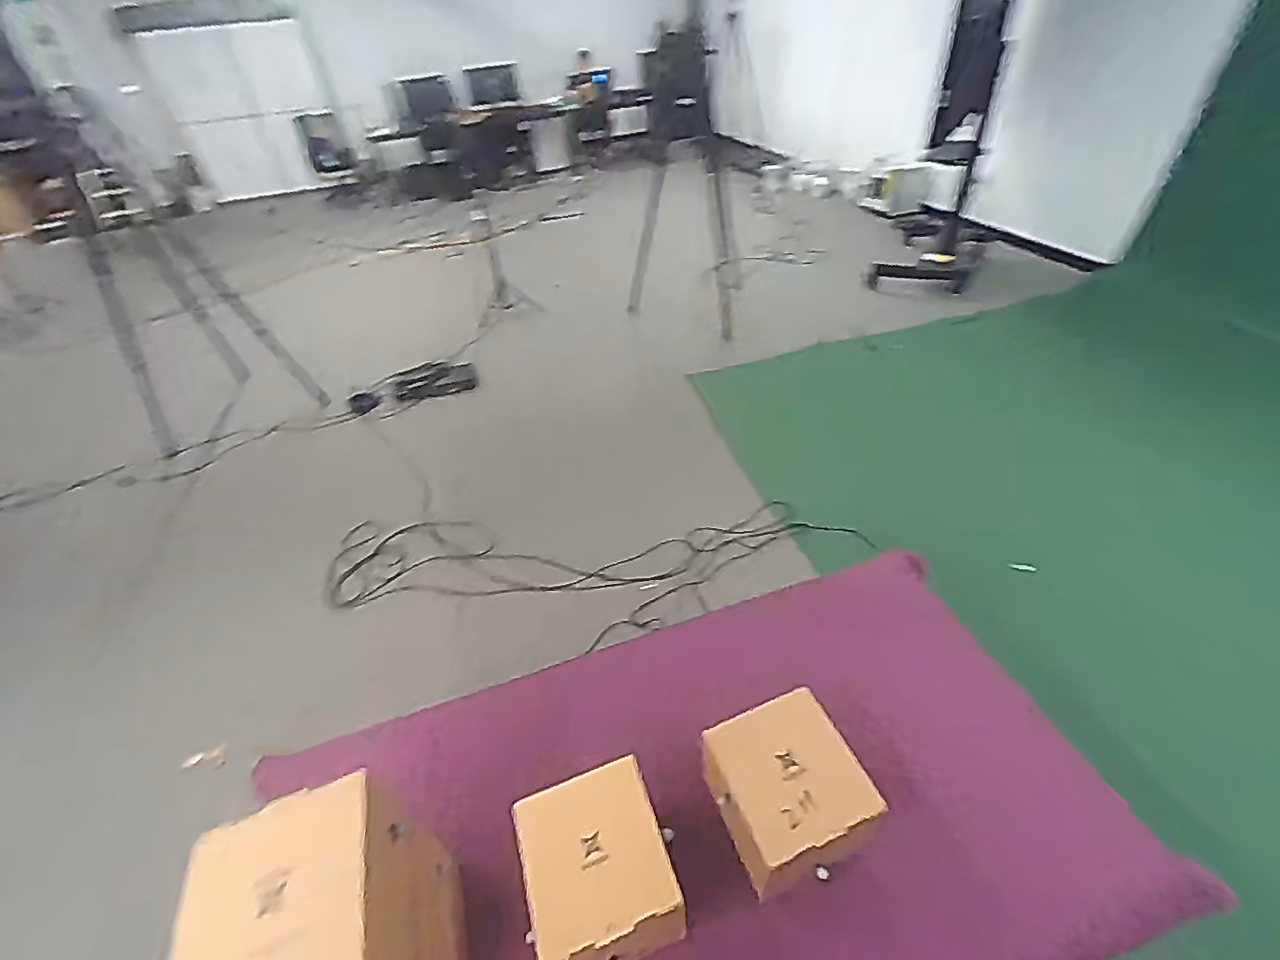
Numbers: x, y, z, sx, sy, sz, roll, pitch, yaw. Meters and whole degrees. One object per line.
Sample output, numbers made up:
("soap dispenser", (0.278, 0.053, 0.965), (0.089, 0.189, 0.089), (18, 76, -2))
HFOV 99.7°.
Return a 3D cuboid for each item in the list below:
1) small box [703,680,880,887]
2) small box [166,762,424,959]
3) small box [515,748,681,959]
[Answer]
("small box", (0.196, 0.423, 0.758), (0.168, 0.176, 0.179), (-18, 43, -13))
("small box", (-0.335, 0.436, 0.555), (0.168, 0.176, 0.179), (-17, 43, -13))
("small box", (-0.054, 0.495, 0.708), (0.168, 0.176, 0.179), (-17, 44, -12))
